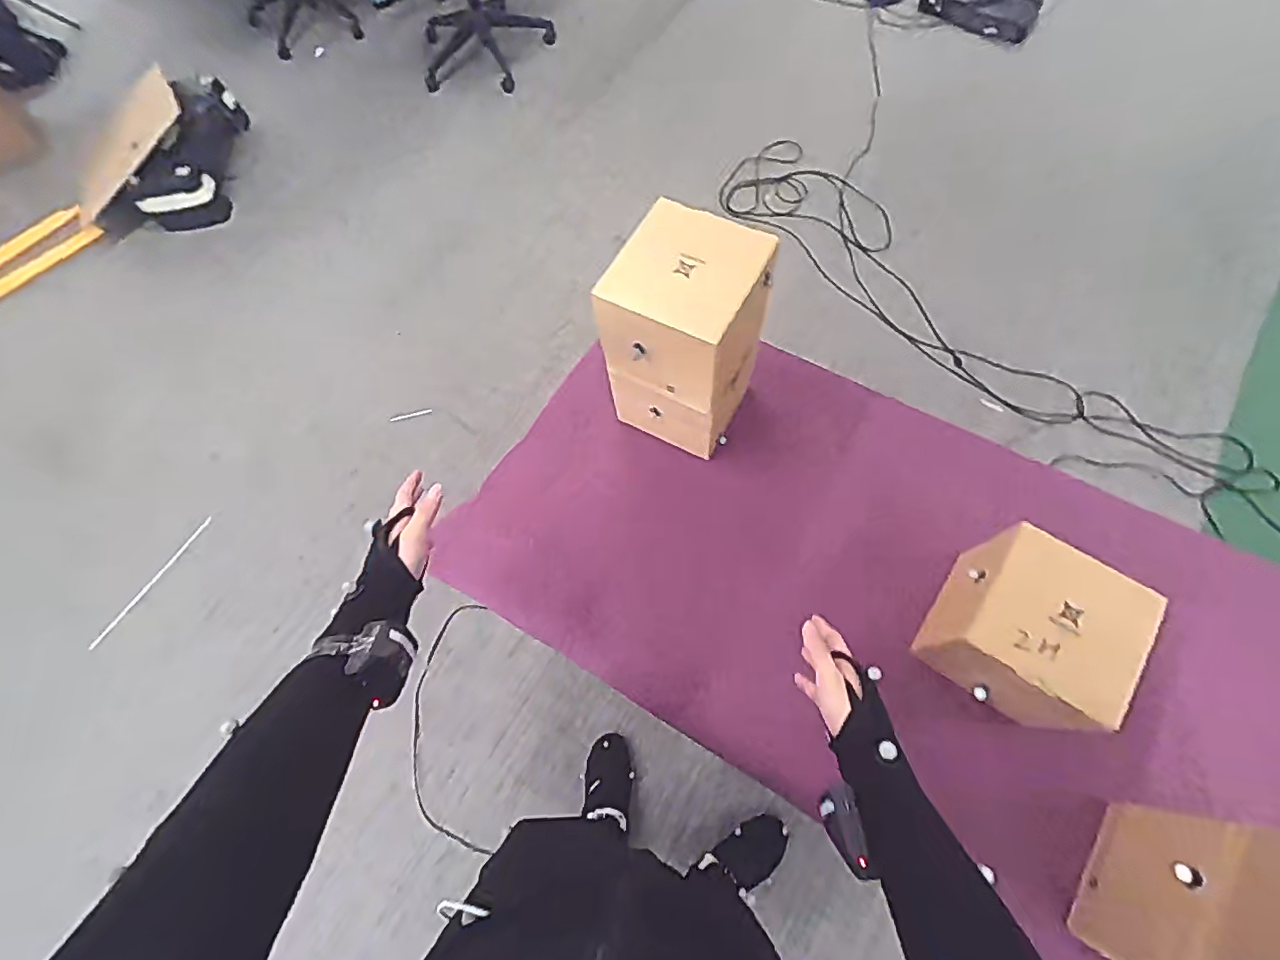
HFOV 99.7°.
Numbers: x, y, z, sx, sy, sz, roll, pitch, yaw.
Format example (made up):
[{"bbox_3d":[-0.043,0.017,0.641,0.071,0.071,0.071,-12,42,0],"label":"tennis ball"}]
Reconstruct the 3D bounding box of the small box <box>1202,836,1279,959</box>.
[{"bbox_3d":[0.600,0.415,0.412,0.168,0.176,0.179,33,73,18],"label":"small box"}]

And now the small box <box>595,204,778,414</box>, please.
[{"bbox_3d":[0.063,-0.217,0.717,0.168,0.176,0.179,26,71,14],"label":"small box"}]

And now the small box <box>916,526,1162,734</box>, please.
[{"bbox_3d":[0.489,0.193,0.692,0.168,0.176,0.179,34,74,17],"label":"small box"}]

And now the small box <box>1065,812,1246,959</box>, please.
[{"bbox_3d":[0.607,0.481,0.561,0.179,0.176,0.168,33,72,16],"label":"small box"}]

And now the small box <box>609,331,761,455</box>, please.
[{"bbox_3d":[0.073,-0.161,0.869,0.179,0.176,0.168,26,72,14],"label":"small box"}]
